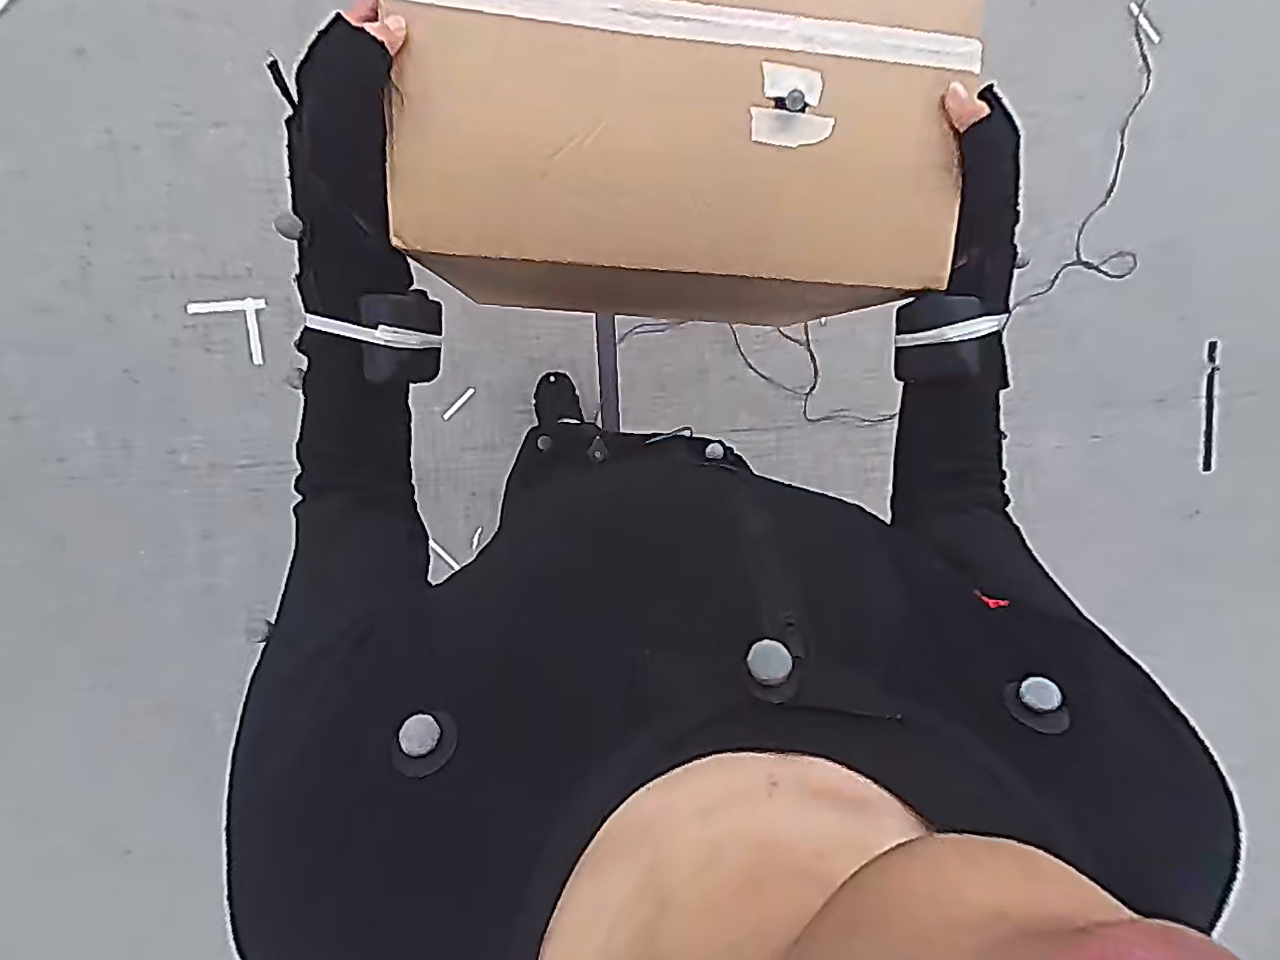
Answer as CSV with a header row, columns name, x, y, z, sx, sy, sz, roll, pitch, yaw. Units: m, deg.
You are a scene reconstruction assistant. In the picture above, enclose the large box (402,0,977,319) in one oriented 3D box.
name,x,y,z,sx,sy,sz,roll,pitch,yaw
large box,0.022,-0.334,0.516,0.408,0.320,0.320,1,102,-8
